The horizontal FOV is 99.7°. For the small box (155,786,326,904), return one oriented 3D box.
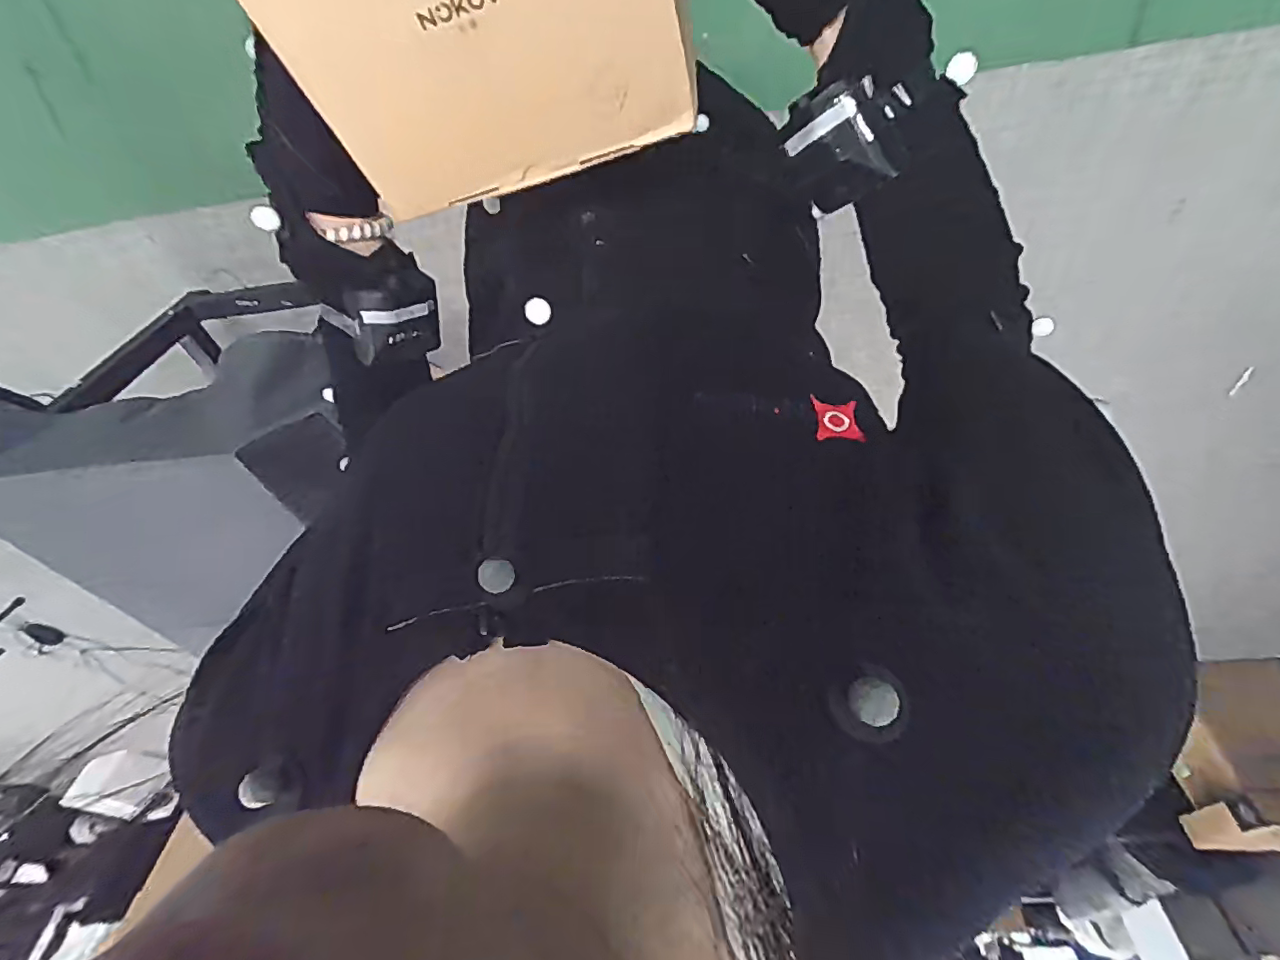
[{"bbox_3d":[-0.760,0.709,1.052,0.168,0.176,0.179,-5,135,6],"label":"small box"}]
